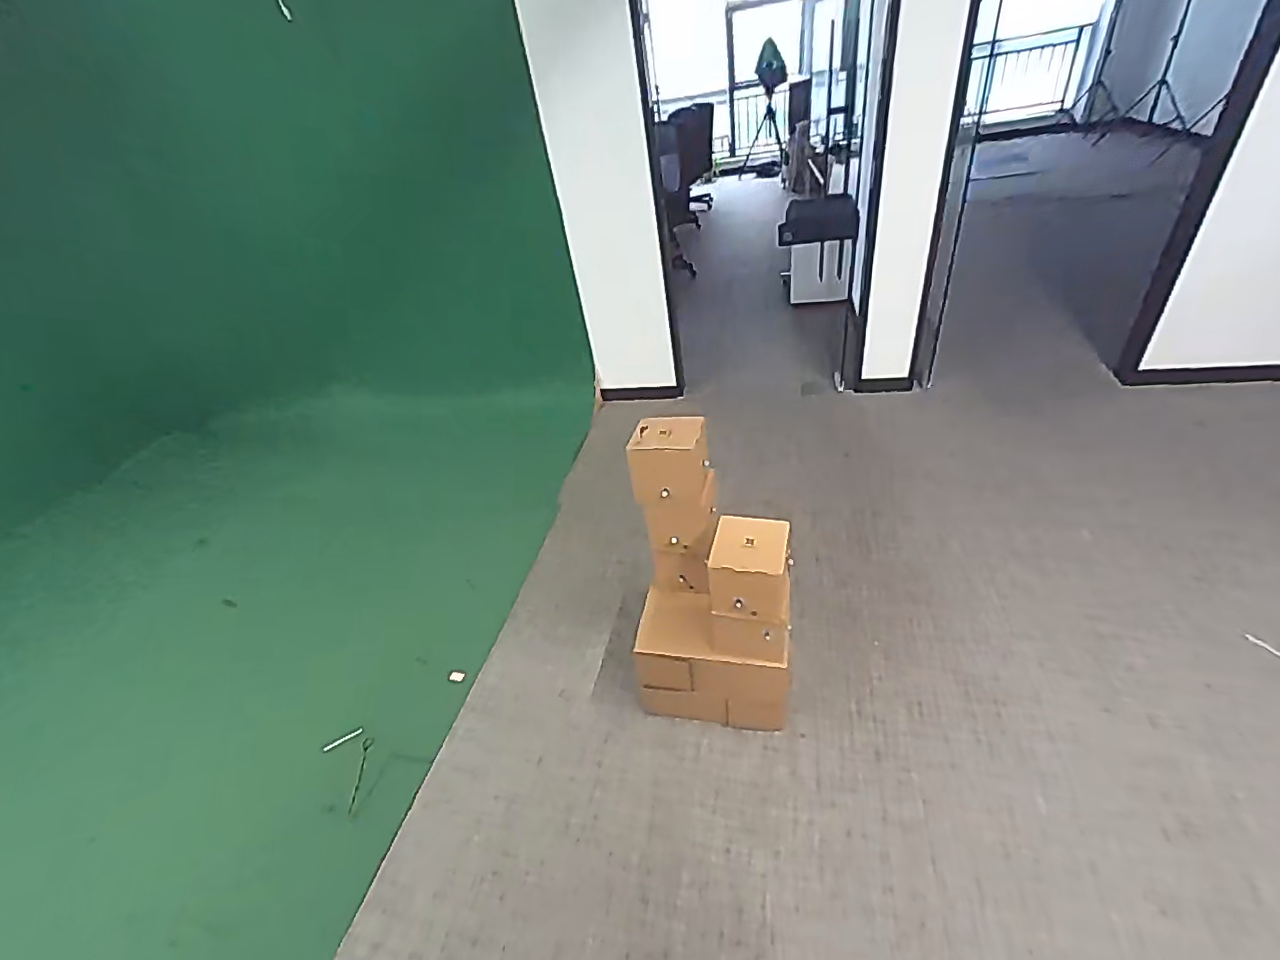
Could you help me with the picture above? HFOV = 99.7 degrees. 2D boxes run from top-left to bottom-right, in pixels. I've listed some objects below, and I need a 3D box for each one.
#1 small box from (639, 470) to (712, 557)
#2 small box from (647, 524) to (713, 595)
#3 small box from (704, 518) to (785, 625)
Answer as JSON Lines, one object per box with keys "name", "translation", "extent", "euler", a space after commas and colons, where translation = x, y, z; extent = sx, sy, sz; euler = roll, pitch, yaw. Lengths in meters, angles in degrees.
{"name": "small box", "translation": [0.106, 0.089, 1.505], "extent": [0.168, 0.176, 0.179], "euler": [2, 35, 17]}
{"name": "small box", "translation": [0.125, 0.216, 1.609], "extent": [0.168, 0.176, 0.179], "euler": [0, 34, 16]}
{"name": "small box", "translation": [0.252, 0.216, 1.291], "extent": [0.168, 0.176, 0.179], "euler": [4, 37, 17]}
